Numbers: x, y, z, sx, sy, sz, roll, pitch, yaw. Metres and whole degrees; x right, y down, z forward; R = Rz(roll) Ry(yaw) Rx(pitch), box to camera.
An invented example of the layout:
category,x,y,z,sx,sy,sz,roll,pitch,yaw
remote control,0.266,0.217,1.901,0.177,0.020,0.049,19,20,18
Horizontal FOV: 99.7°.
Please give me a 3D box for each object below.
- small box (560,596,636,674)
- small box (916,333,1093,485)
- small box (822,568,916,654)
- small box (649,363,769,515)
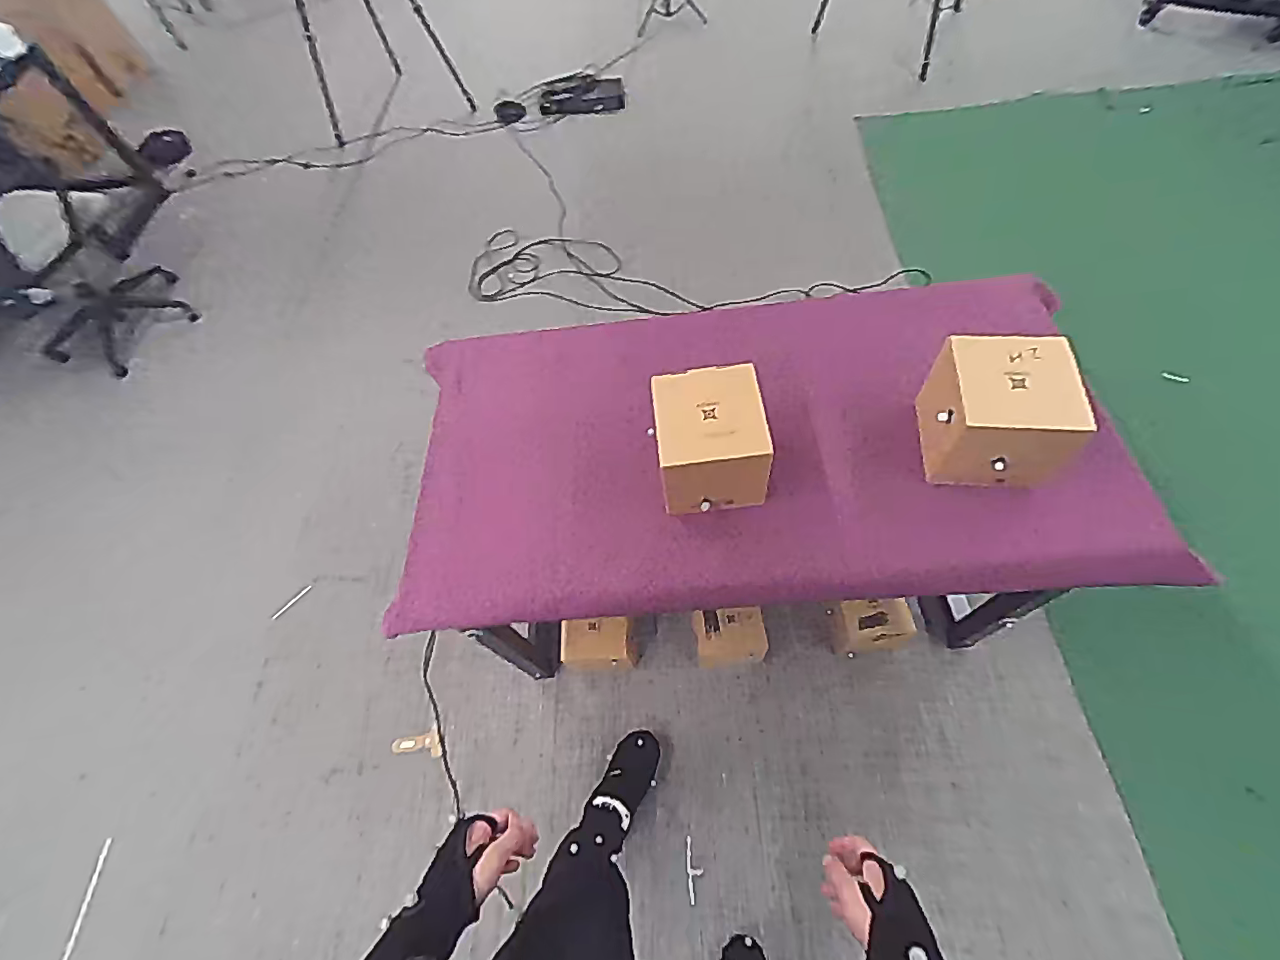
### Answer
category,x,y,z,sx,sy,sz,roll,pitch,yaw
small box,-0.111,0.427,1.473,0.179,0.176,0.168,-6,59,4
small box,0.550,-0.106,0.846,0.168,0.176,0.179,4,61,10
small box,0.592,0.350,1.420,0.168,0.176,0.179,-8,58,3
small box,0.107,-0.062,0.883,0.168,0.176,0.179,-7,60,4
